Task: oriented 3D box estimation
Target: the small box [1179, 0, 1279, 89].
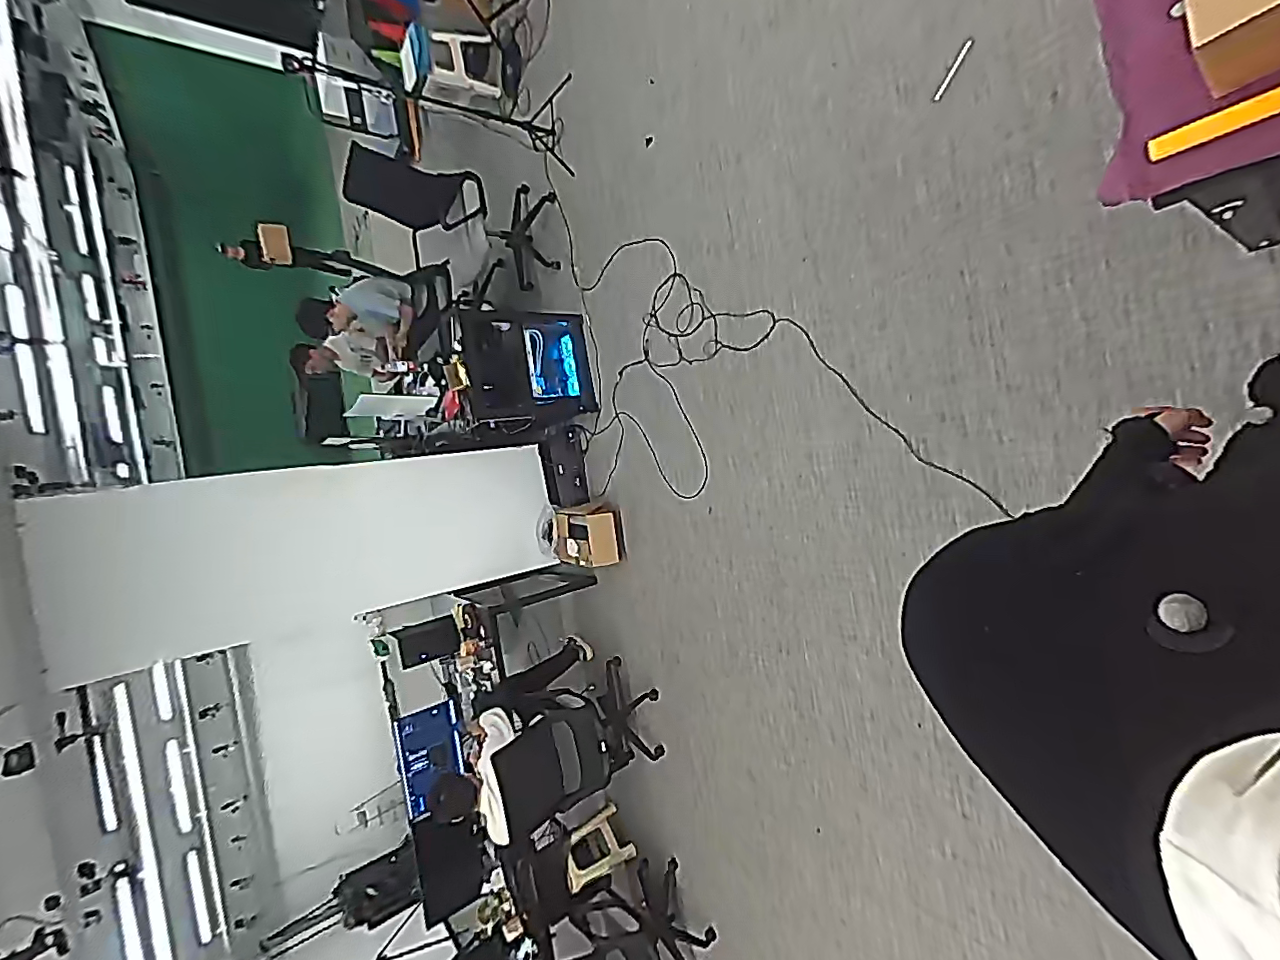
[{"bbox_3d":[0.629,-0.518,0.502,0.179,0.176,0.168,-8,91,52],"label":"small box"}]
